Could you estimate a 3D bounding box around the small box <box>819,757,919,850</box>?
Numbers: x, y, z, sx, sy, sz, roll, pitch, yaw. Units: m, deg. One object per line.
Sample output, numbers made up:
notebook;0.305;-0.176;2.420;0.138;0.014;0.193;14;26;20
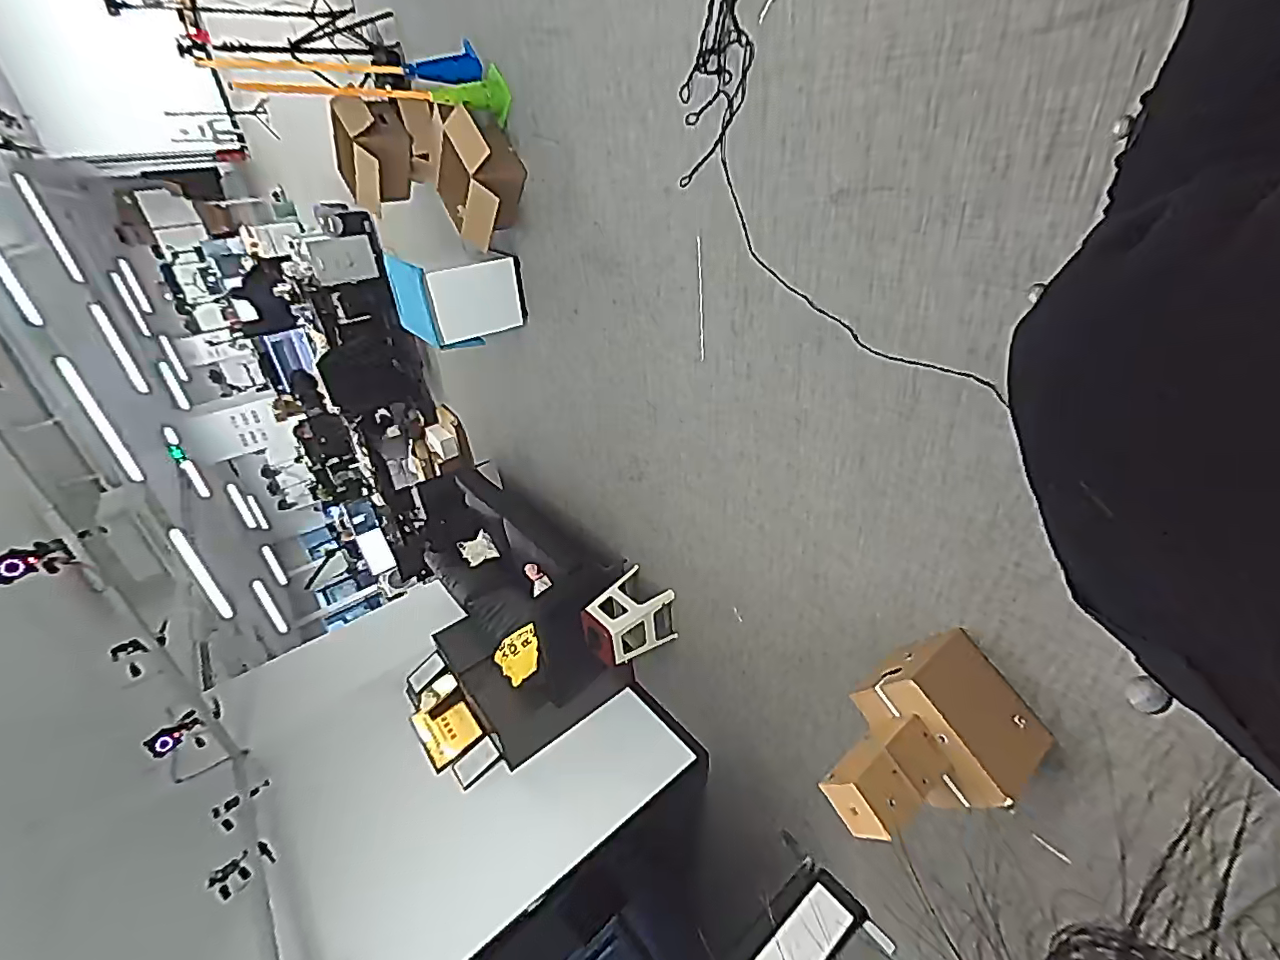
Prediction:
small box;0.663;0.922;1.554;0.168;0.176;0.179;55;150;17
